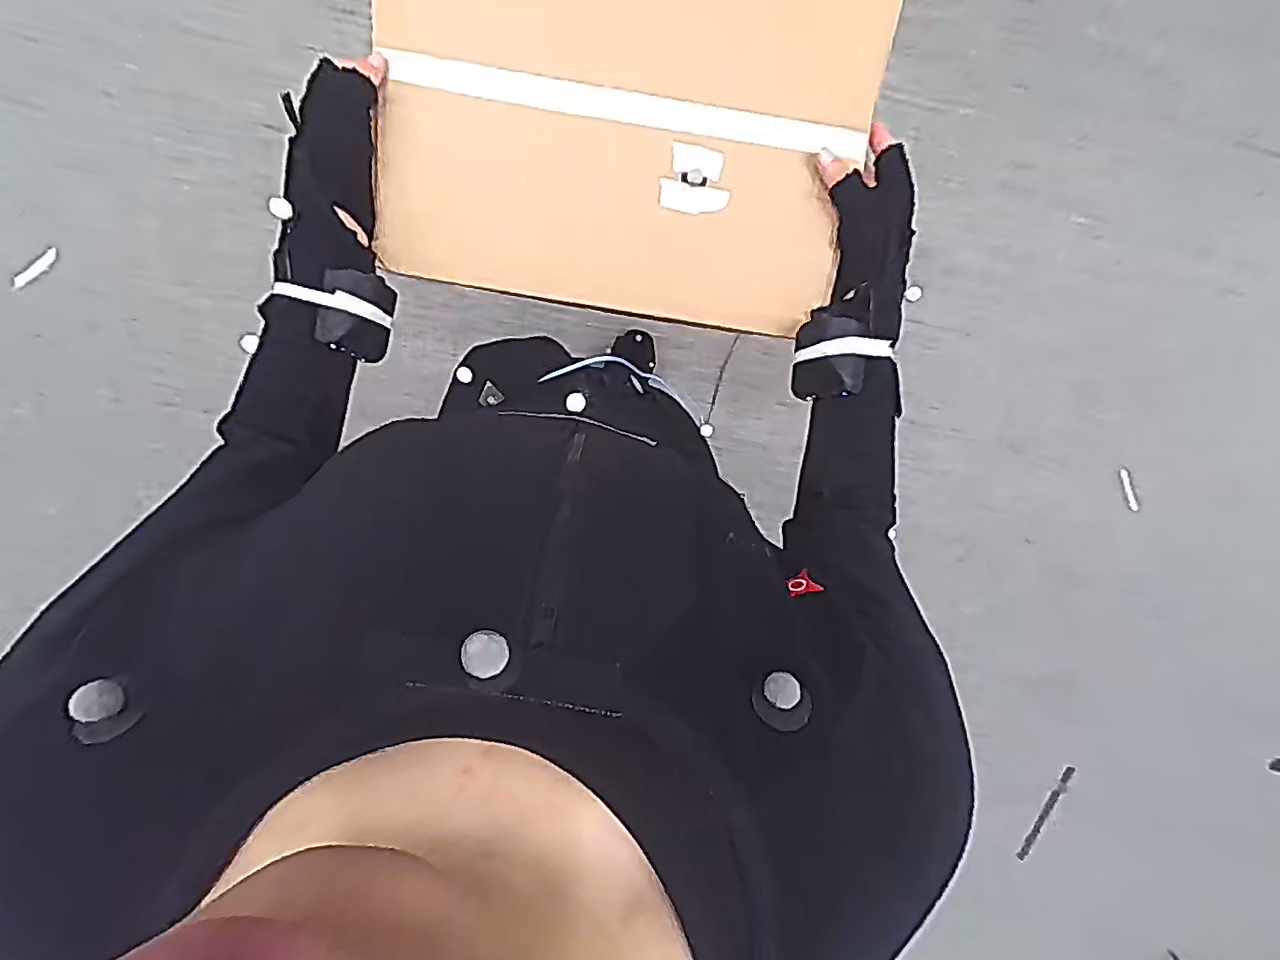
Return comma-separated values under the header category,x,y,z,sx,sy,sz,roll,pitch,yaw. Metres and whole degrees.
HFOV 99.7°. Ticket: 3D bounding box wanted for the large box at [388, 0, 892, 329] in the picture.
category,x,y,z,sx,sy,sz,roll,pitch,yaw
large box,-0.012,-0.355,0.596,0.408,0.320,0.320,9,107,-3
